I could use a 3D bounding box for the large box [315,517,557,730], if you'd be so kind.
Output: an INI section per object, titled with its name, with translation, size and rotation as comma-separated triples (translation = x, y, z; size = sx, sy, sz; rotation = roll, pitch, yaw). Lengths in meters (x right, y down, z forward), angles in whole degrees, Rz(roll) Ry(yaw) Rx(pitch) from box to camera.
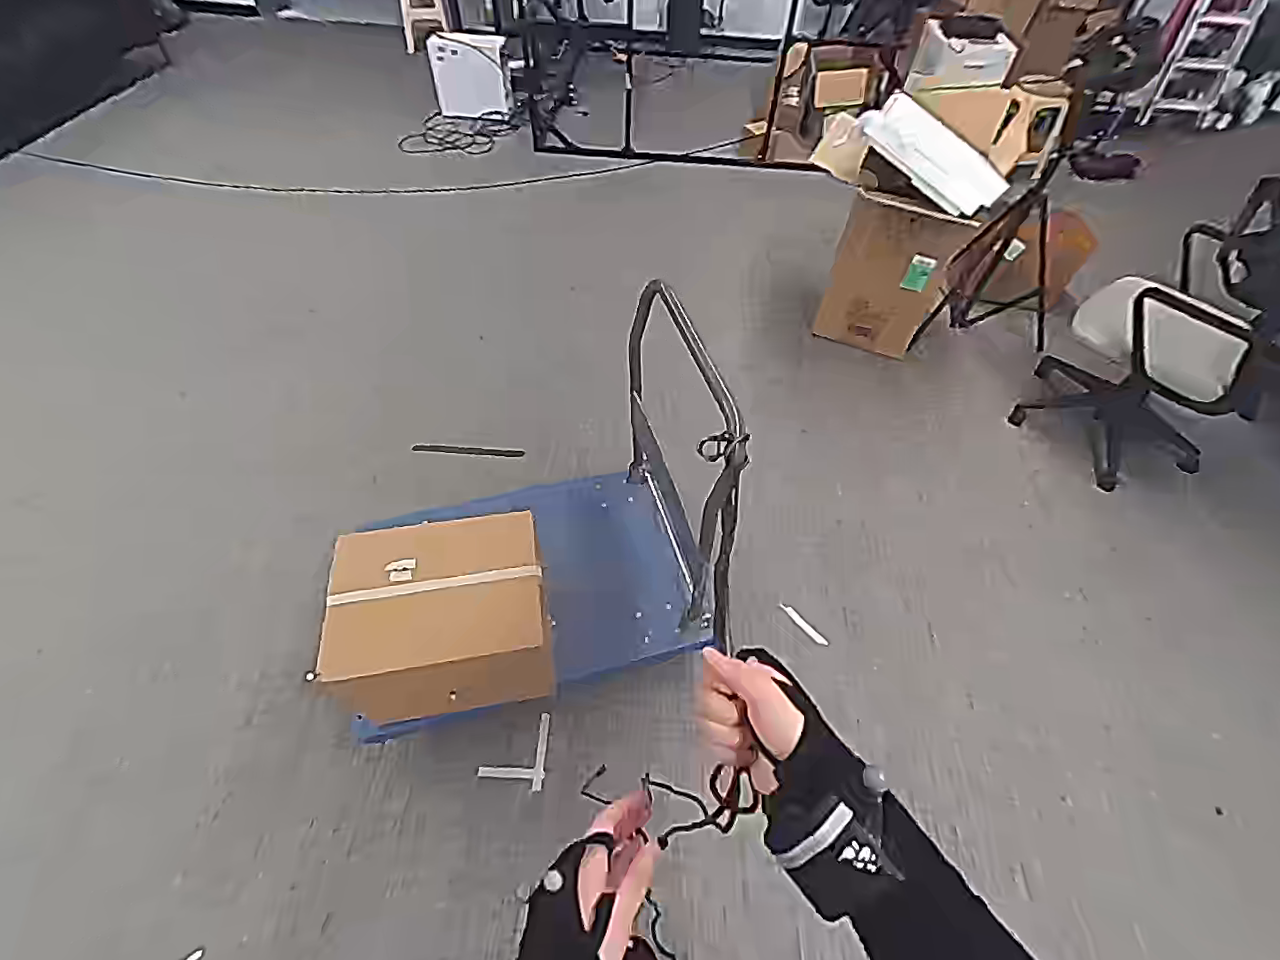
[large box]
translation = -0.409, 0.316, 1.178
size = 0.408, 0.320, 0.320
rotation = -8, 52, -8
